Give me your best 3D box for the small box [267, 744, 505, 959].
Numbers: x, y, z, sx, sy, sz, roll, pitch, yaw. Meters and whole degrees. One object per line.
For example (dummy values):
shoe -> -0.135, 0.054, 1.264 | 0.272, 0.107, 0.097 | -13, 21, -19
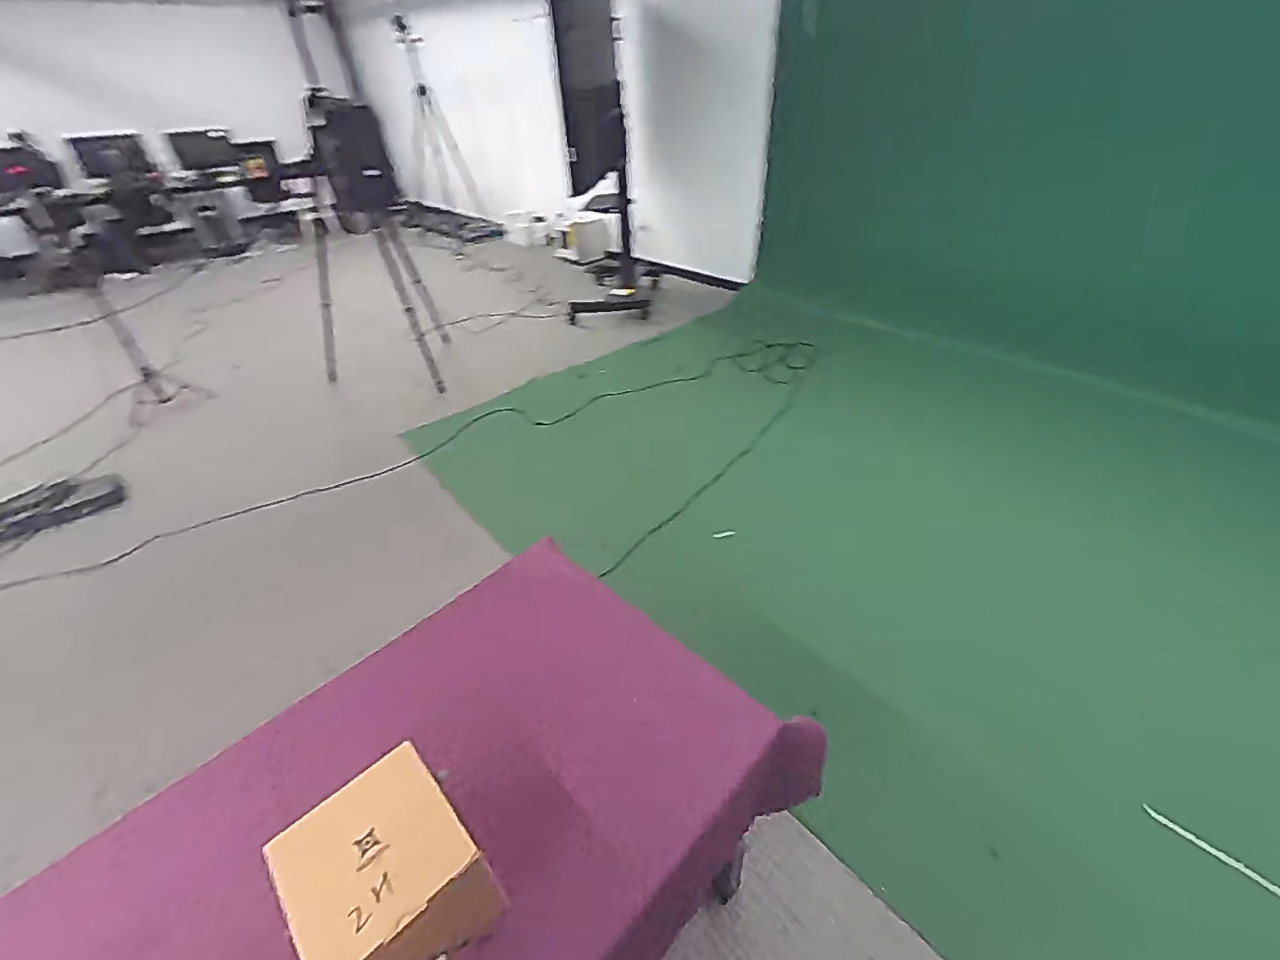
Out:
small box -> -0.281, 0.457, 0.619 | 0.168, 0.176, 0.179 | -33, 46, -31
